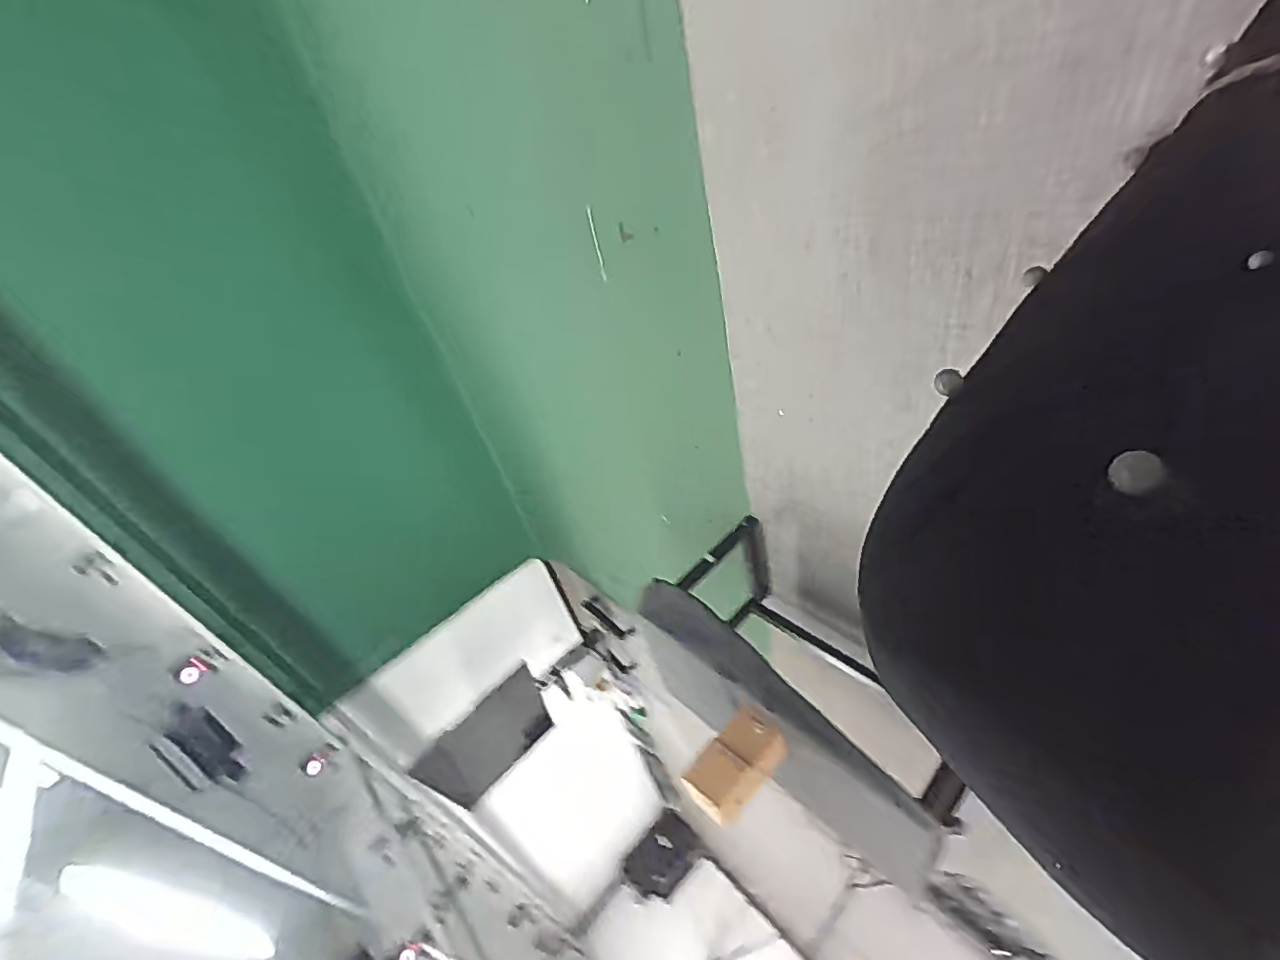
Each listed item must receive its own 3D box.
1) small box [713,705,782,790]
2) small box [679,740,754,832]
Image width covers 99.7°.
[{"bbox_3d":[0.377,0.928,1.878,0.168,0.176,0.179,27,143,41],"label":"small box"},{"bbox_3d":[0.259,1.011,1.798,0.168,0.176,0.179,24,144,44],"label":"small box"}]
